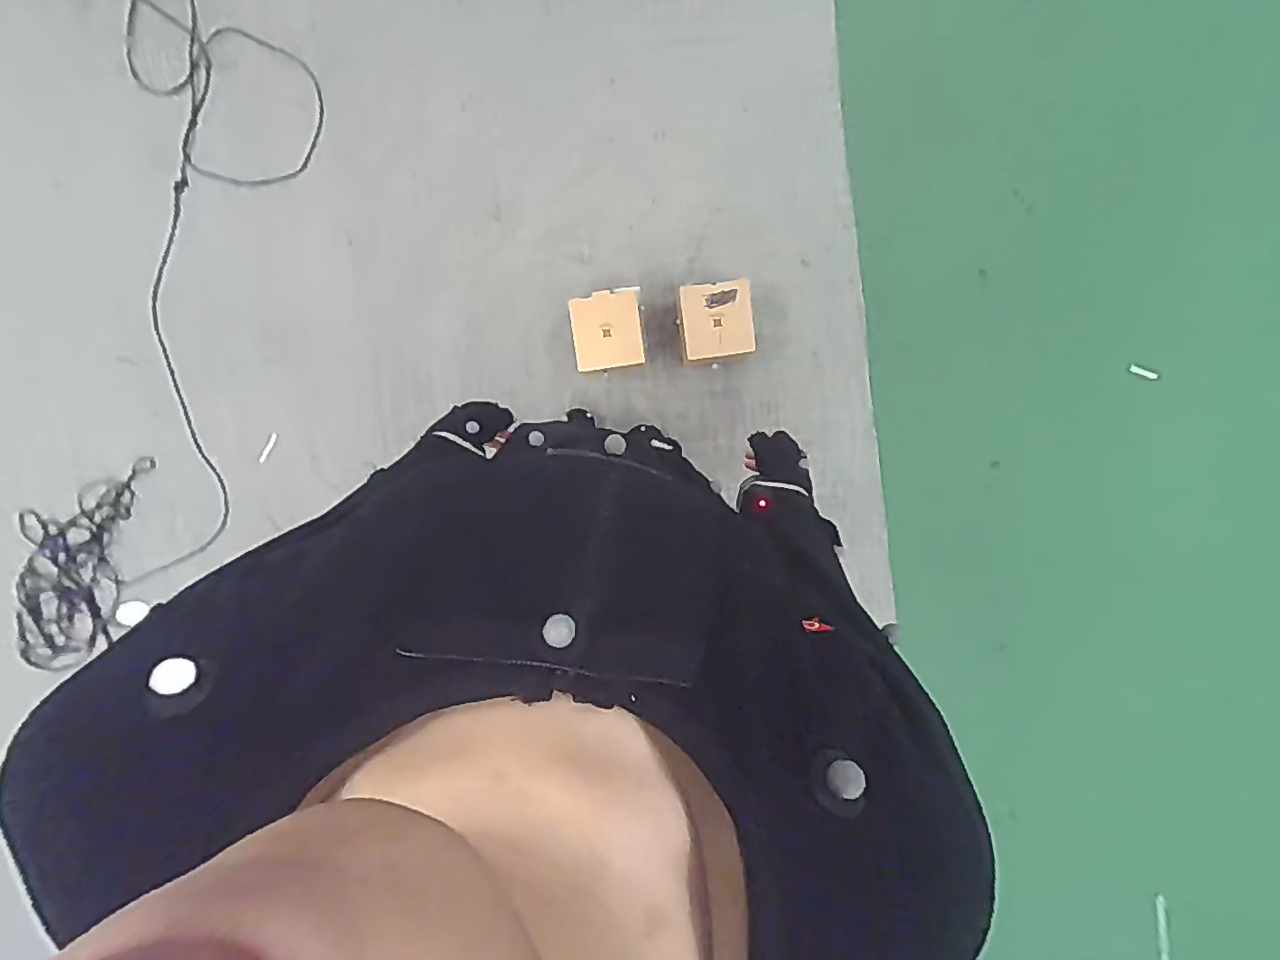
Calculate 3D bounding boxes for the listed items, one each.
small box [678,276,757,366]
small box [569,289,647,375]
[{"bbox_3d":[0.188,-0.390,1.351,0.168,0.176,0.179,-8,96,2],"label":"small box"},{"bbox_3d":[-0.073,-0.363,1.363,0.168,0.176,0.179,-8,95,2],"label":"small box"}]
